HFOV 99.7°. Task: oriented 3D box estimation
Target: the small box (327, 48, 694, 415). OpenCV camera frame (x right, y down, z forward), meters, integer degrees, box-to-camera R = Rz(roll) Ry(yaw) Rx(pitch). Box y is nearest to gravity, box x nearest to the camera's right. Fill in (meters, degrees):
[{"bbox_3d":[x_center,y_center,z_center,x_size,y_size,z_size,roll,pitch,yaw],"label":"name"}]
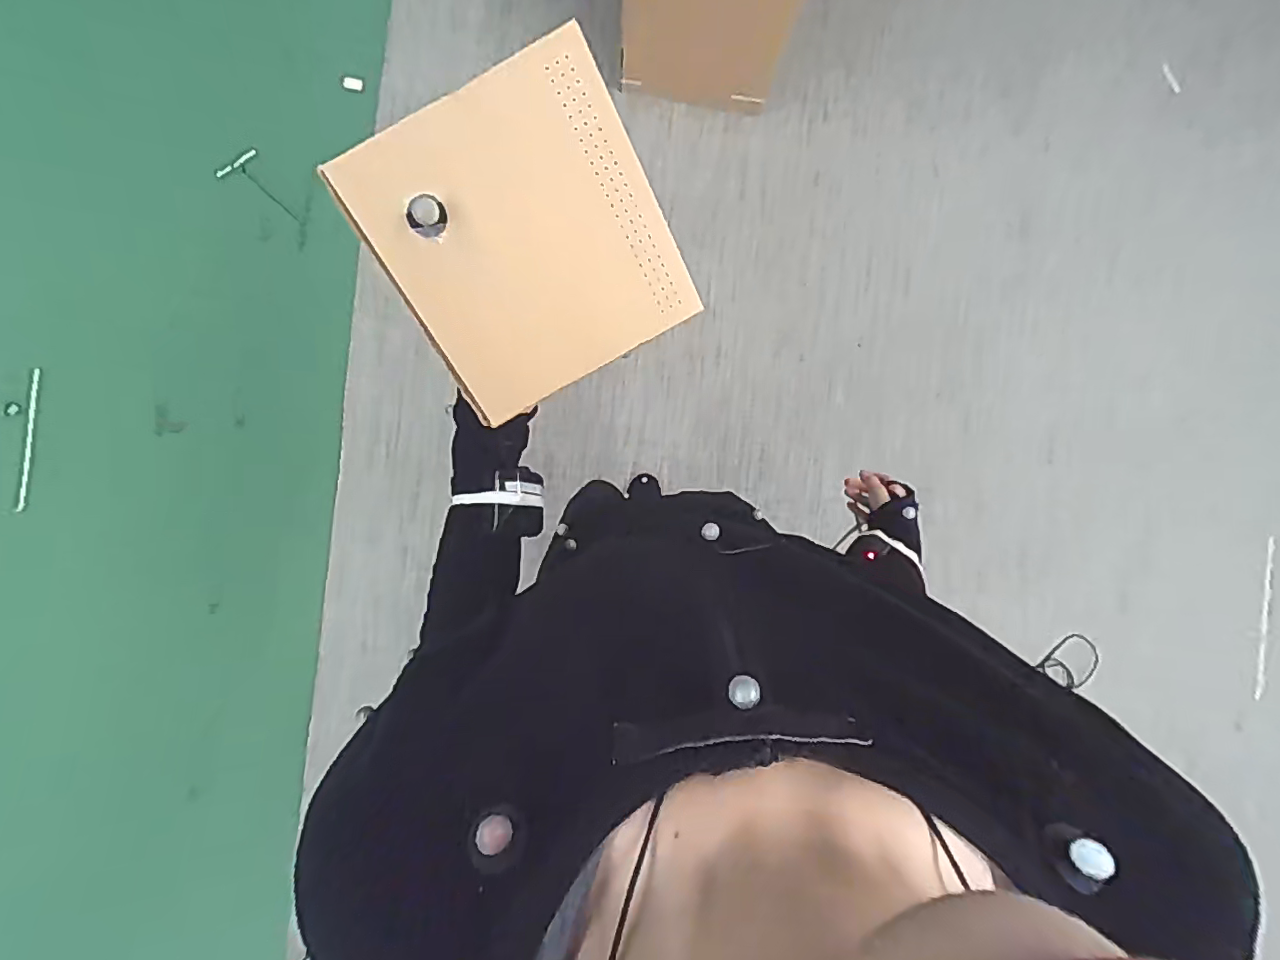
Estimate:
[{"bbox_3d":[-0.081,-0.180,0.409,0.176,0.168,0.179,-28,113,2],"label":"small box"}]
